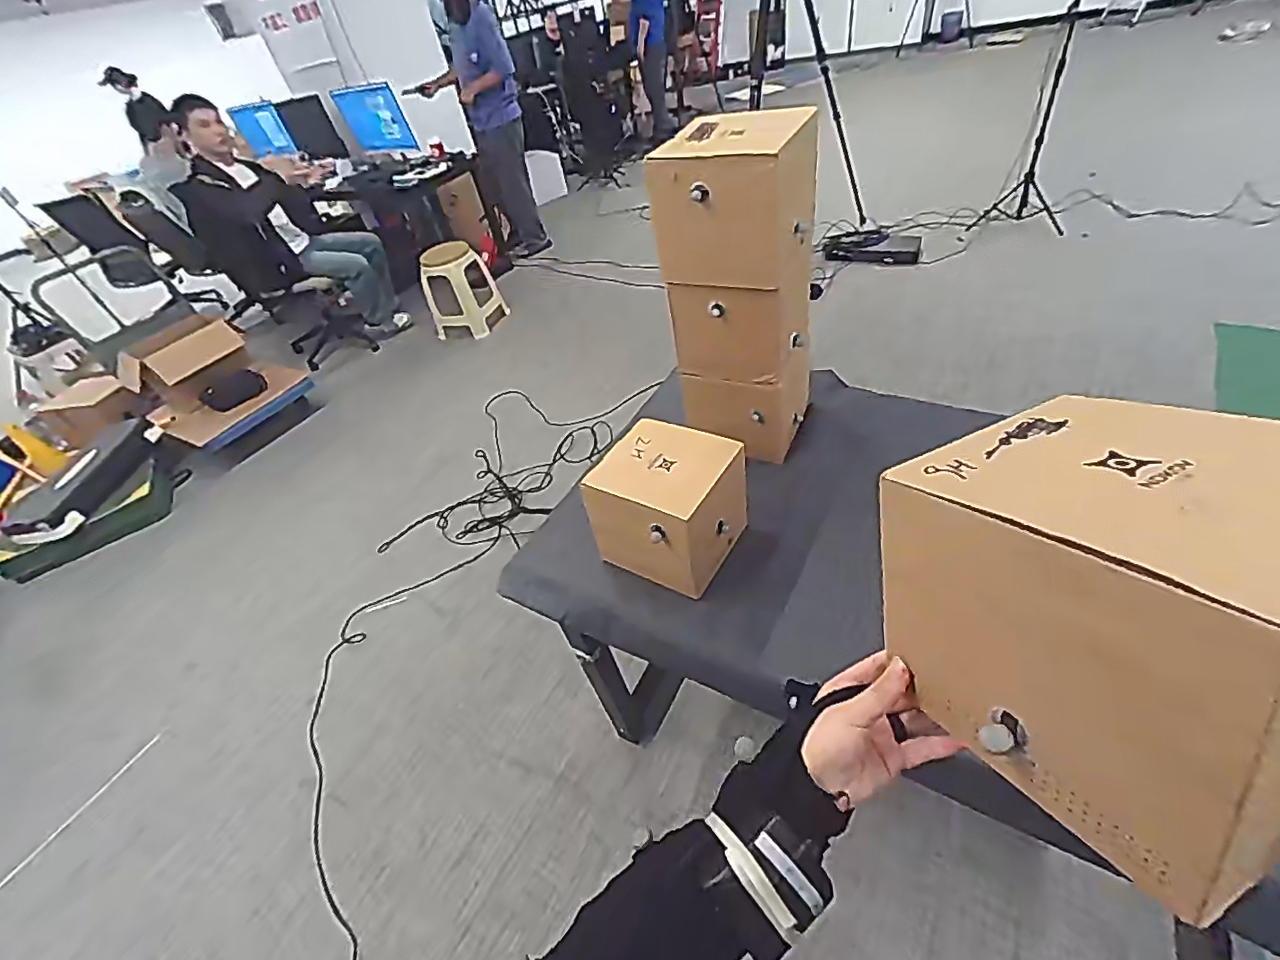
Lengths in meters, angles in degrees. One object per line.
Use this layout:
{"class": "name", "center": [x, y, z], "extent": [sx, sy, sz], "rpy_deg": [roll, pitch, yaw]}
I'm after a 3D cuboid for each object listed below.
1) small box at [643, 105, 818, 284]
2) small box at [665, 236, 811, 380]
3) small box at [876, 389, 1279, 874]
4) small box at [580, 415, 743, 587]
{"class": "small box", "center": [0.129, -0.385, 0.739], "extent": [0.179, 0.176, 0.168], "rpy_deg": [15, 53, 26]}
{"class": "small box", "center": [0.161, -0.278, 0.860], "extent": [0.179, 0.176, 0.168], "rpy_deg": [14, 52, 25]}
{"class": "small box", "center": [0.260, 0.067, 0.298], "extent": [0.168, 0.176, 0.179], "rpy_deg": [-21, 25, -16]}
{"class": "small box", "center": [0.042, 0.033, 0.801], "extent": [0.179, 0.176, 0.168], "rpy_deg": [18, 49, 30]}
